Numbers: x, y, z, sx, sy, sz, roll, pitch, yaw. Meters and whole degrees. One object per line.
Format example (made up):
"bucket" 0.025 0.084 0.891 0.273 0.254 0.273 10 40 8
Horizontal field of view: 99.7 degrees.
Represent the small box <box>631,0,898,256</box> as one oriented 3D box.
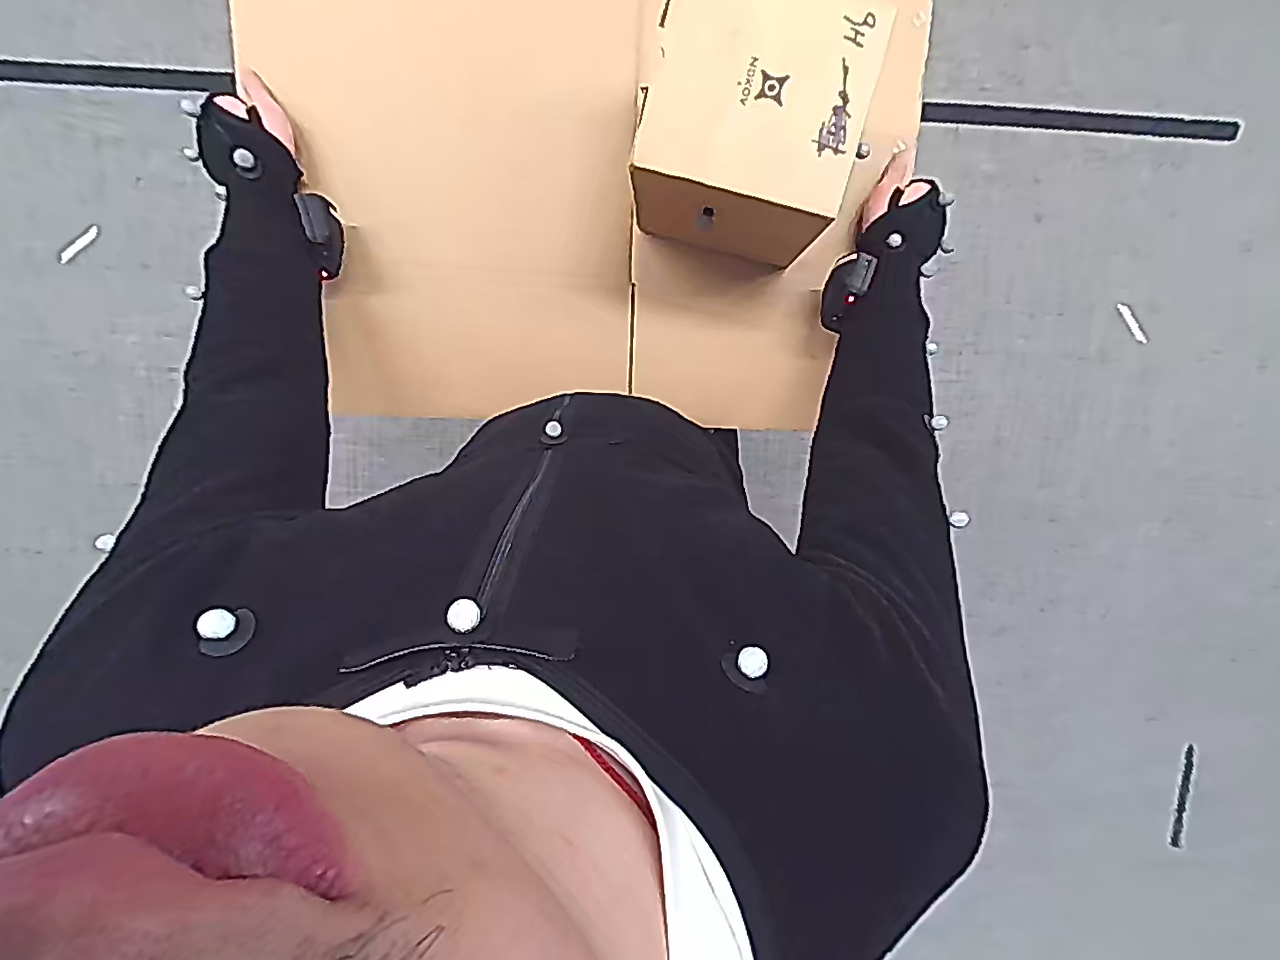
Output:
"small box" 0.100 -0.329 0.509 0.179 0.176 0.168 15 99 0
